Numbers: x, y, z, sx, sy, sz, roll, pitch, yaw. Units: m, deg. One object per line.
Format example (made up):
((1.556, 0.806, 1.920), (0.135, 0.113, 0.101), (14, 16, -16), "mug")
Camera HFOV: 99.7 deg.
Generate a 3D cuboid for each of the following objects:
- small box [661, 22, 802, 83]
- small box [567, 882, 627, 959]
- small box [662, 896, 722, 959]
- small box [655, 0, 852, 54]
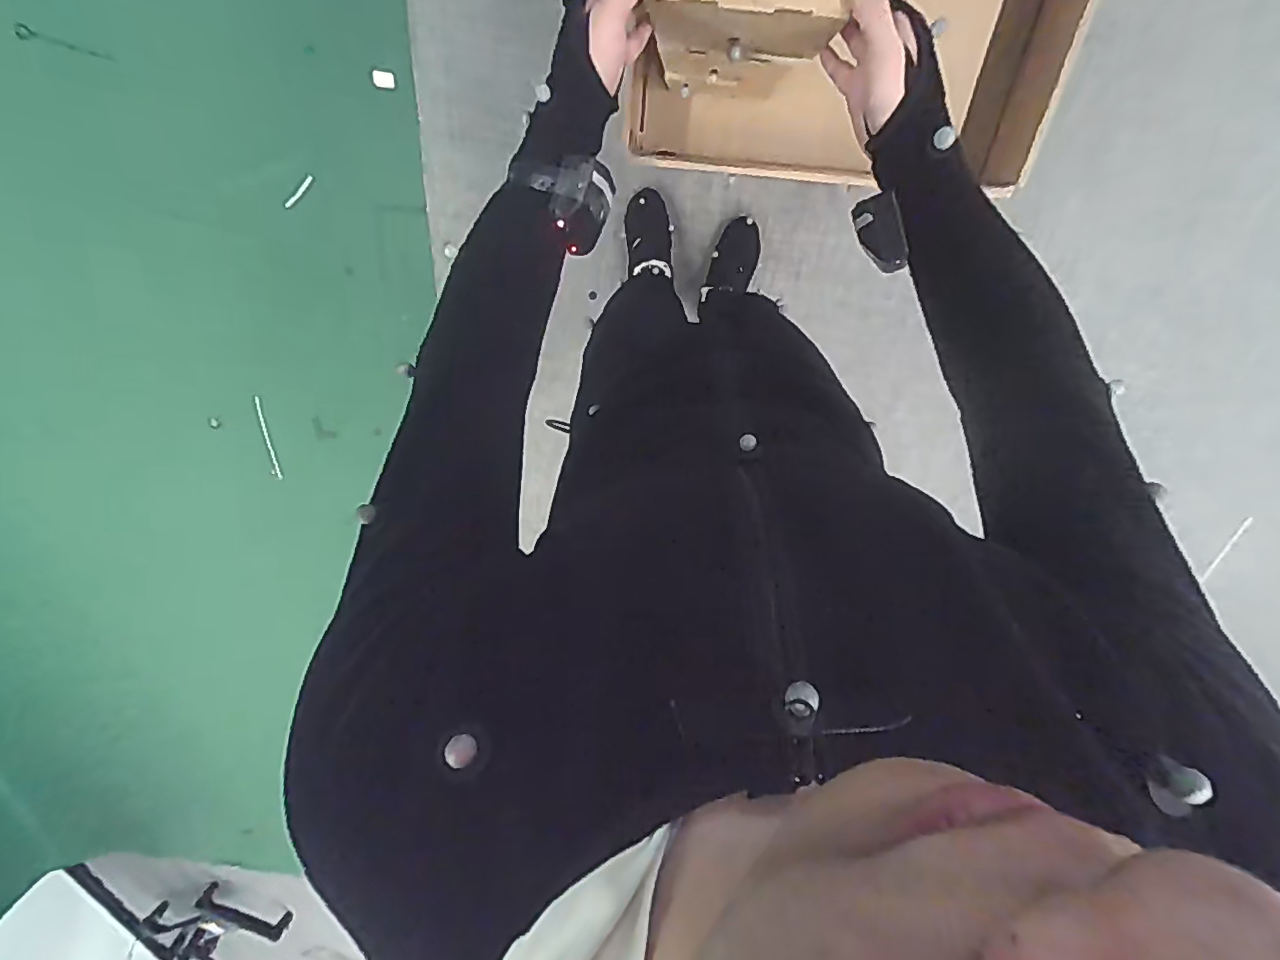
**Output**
((0.120, -0.601, 0.643), (0.168, 0.176, 0.179), (8, 120, 2), "small box")
((-0.128, 1.383, 1.667), (0.168, 0.176, 0.179), (3, 120, 2), "small box")
((0.155, 1.409, 1.655), (0.168, 0.176, 0.179), (4, 121, 3), "small box")
((0.099, -0.485, 0.445), (0.168, 0.176, 0.179), (9, 119, 2), "small box")
